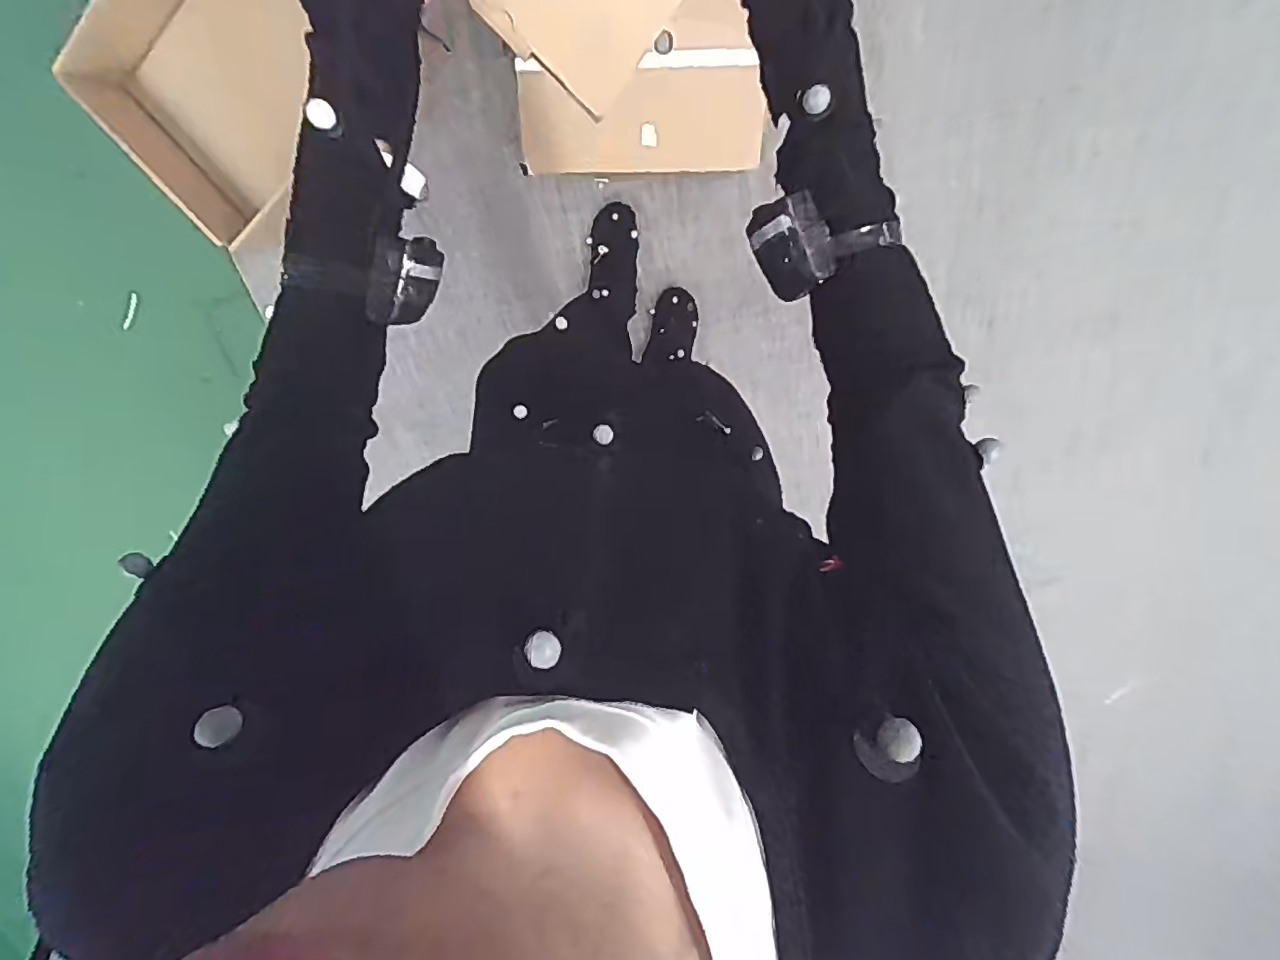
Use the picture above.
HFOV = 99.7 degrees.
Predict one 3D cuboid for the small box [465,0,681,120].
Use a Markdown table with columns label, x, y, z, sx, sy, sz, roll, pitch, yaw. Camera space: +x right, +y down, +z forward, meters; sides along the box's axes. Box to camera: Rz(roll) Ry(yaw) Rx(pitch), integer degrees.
| label | x | y | z | sx | sy | sz | roll | pitch | yaw |
| --- | --- | --- | --- | --- | --- | --- | --- | --- | --- |
| small box | -0.041 | -0.395 | 0.378 | 0.168 | 0.176 | 0.179 | 34 | 118 | -25 |
